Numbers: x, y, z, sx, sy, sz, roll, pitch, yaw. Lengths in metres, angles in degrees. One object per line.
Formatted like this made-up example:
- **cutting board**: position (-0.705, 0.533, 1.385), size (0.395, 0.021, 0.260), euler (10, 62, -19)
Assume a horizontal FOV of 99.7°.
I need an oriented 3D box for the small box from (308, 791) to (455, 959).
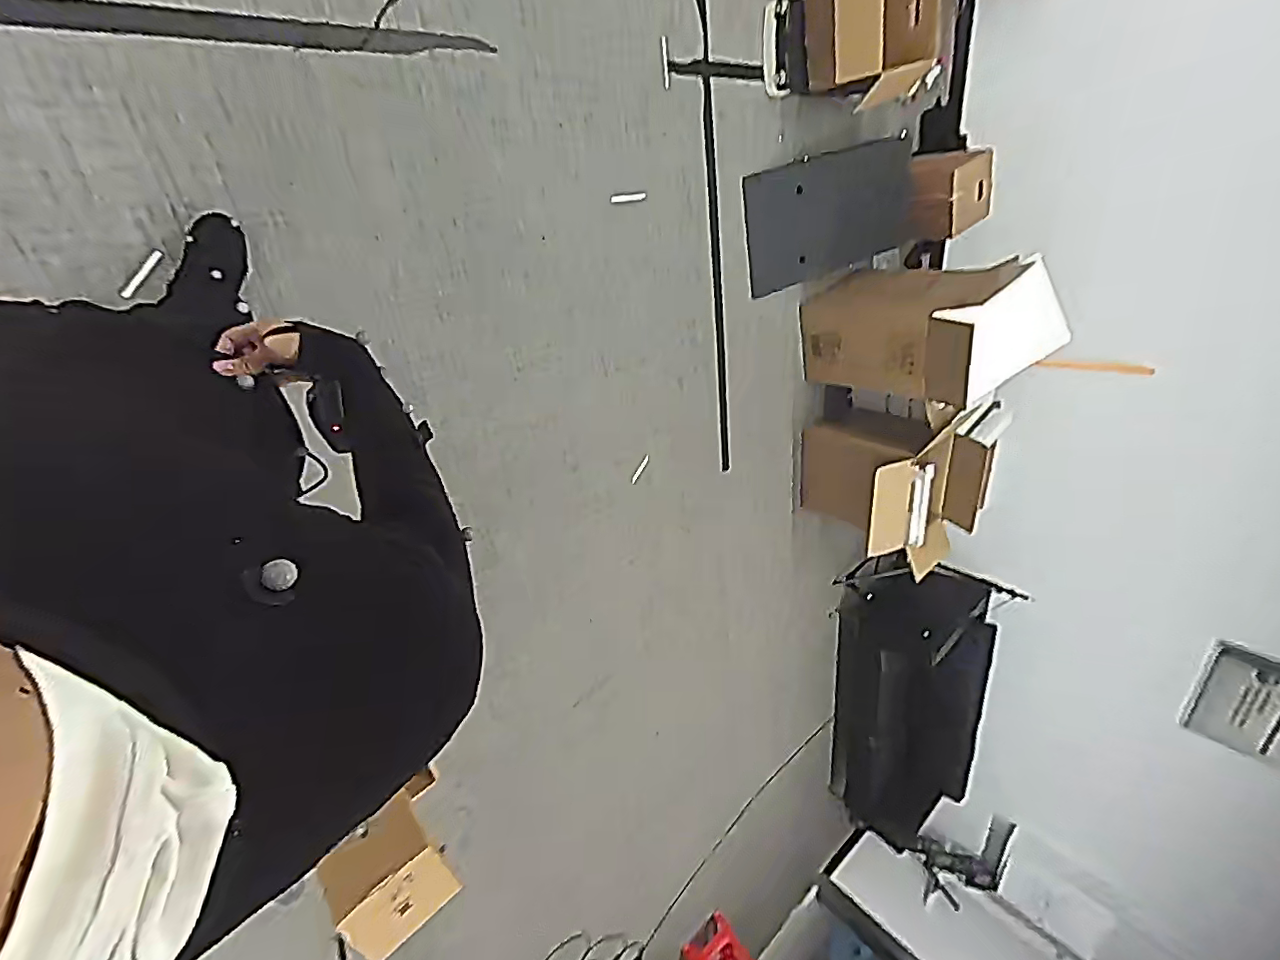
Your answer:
- **small box**: position (-0.471, 0.718, 0.990), size (0.168, 0.176, 0.179), euler (-32, 127, -31)
